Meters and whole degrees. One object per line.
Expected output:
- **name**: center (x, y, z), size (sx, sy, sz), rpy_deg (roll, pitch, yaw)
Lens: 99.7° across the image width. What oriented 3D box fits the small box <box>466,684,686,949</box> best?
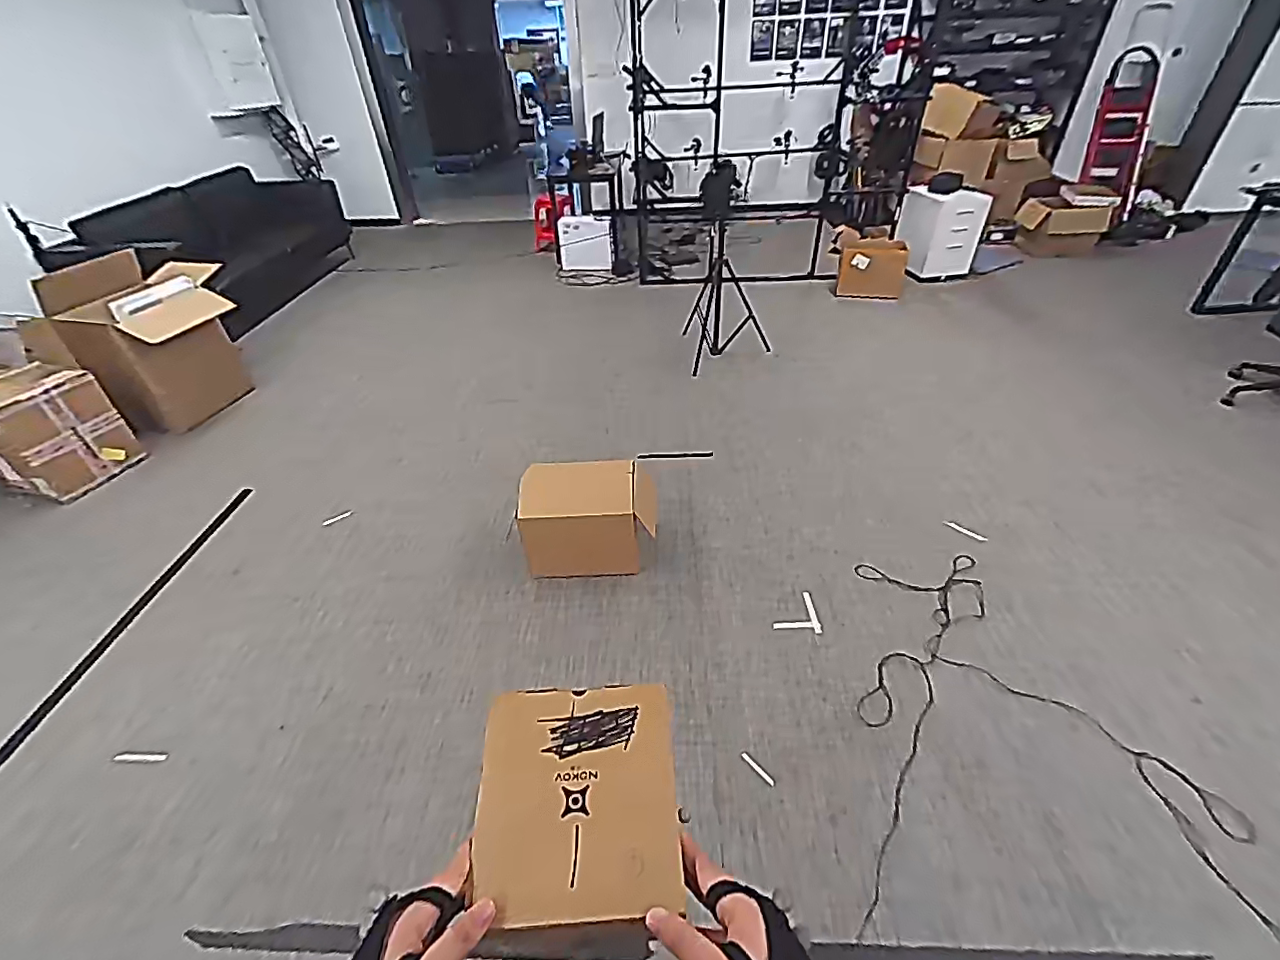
- **small box**: center (-0.050, 0.316, 0.512), size (0.168, 0.176, 0.179), rpy_deg (-3, 45, -1)
